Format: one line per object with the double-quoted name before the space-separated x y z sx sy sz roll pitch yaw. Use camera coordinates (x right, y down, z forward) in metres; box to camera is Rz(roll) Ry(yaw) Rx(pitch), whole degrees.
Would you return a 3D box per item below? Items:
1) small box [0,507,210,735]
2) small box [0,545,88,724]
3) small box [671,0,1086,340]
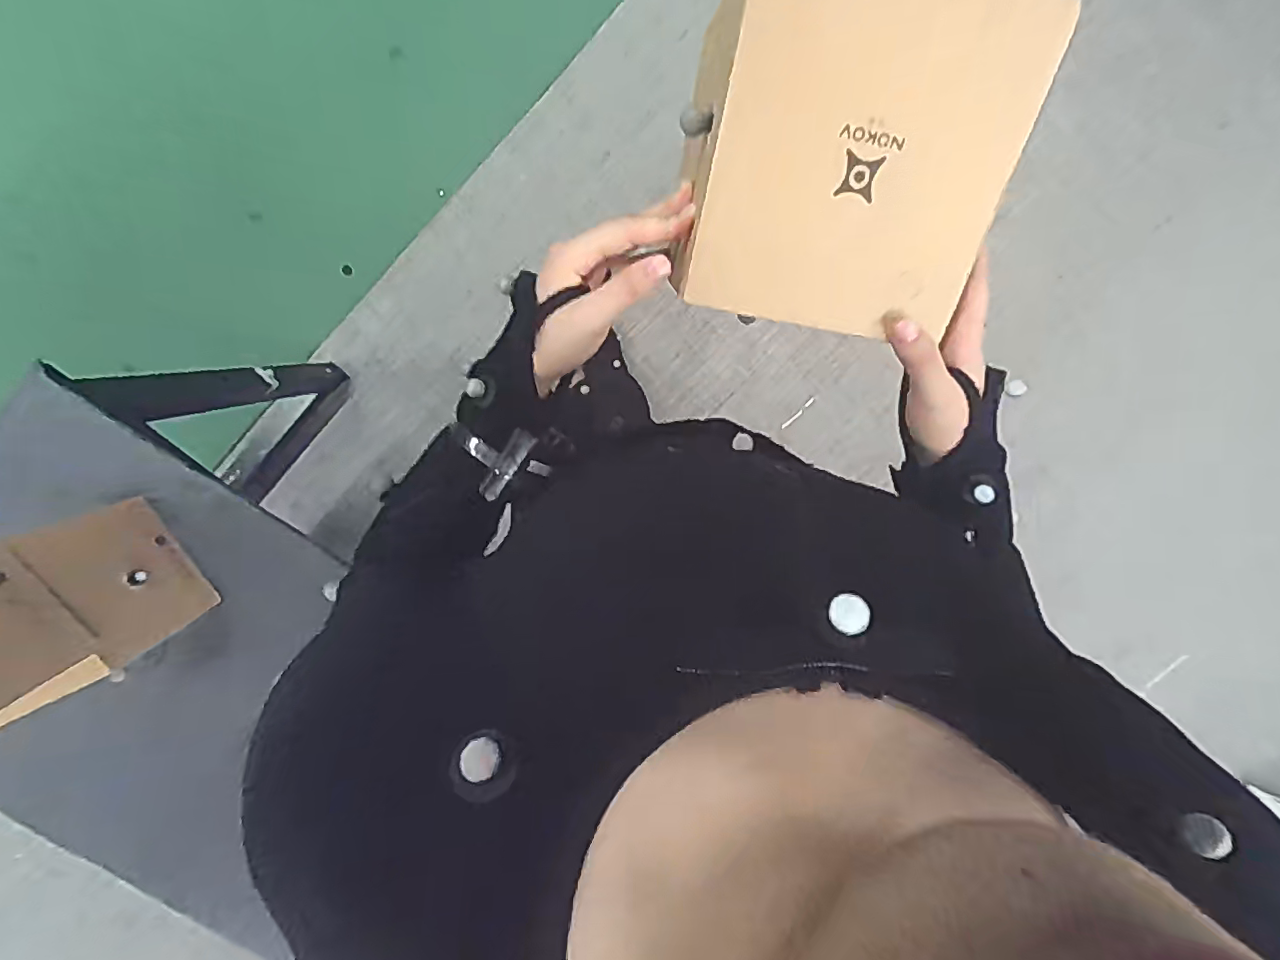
"small box" -0.658 0.152 0.630 0.179 0.176 0.168 -25 104 5
"small box" -0.655 0.173 0.468 0.179 0.176 0.168 -30 103 6
"small box" 0.118 -0.210 0.357 0.168 0.176 0.179 8 116 -7
